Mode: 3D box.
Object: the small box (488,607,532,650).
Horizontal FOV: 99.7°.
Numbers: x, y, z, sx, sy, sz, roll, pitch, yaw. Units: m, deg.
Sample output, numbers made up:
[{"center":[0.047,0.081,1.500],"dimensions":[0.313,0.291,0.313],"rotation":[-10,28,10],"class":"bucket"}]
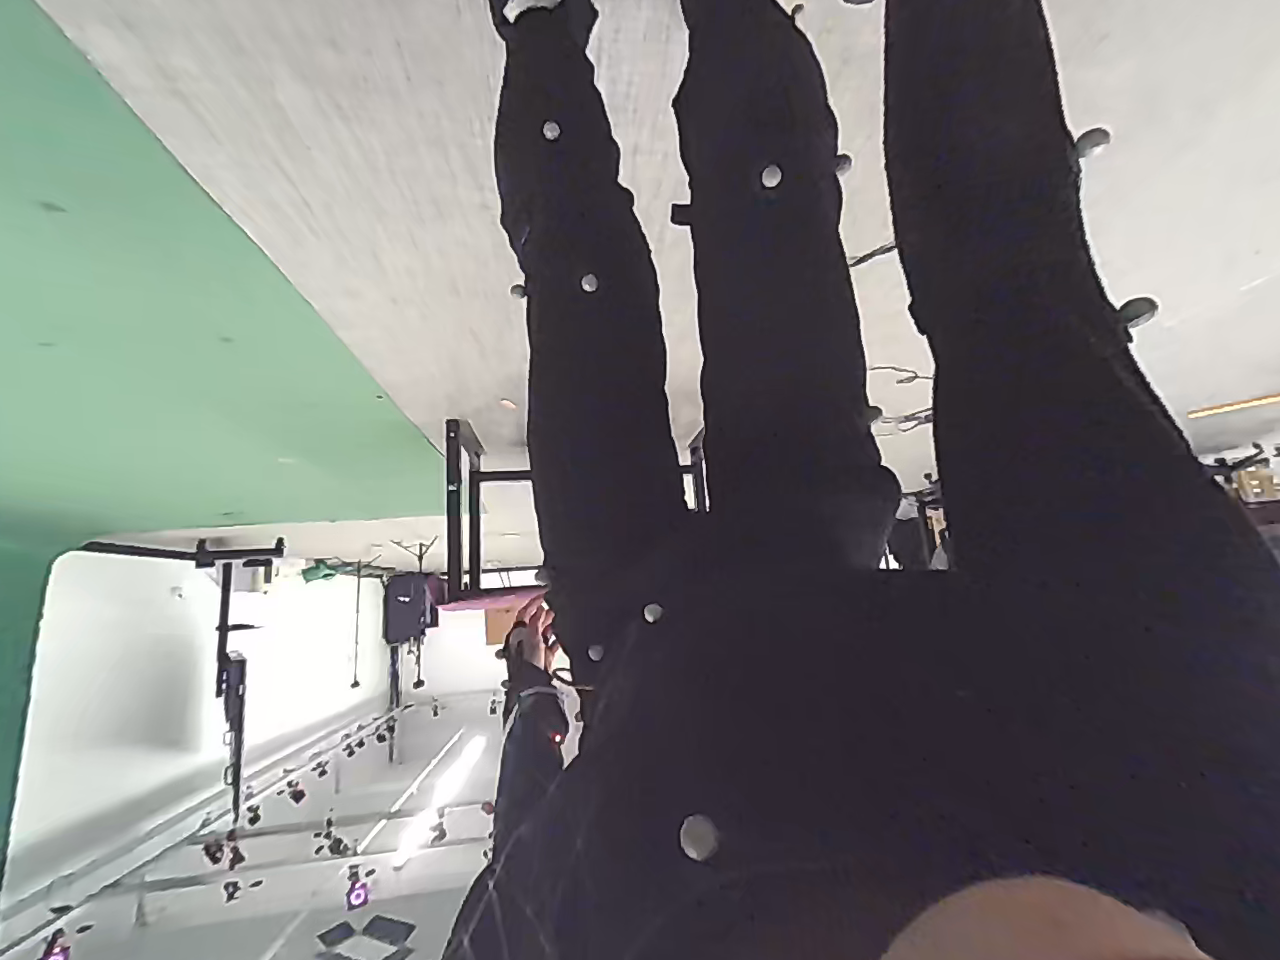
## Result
[{"center":[-0.569,0.648,2.377],"dimensions":[0.168,0.176,0.179],"rotation":[-5,166,-5],"class":"small box"}]
